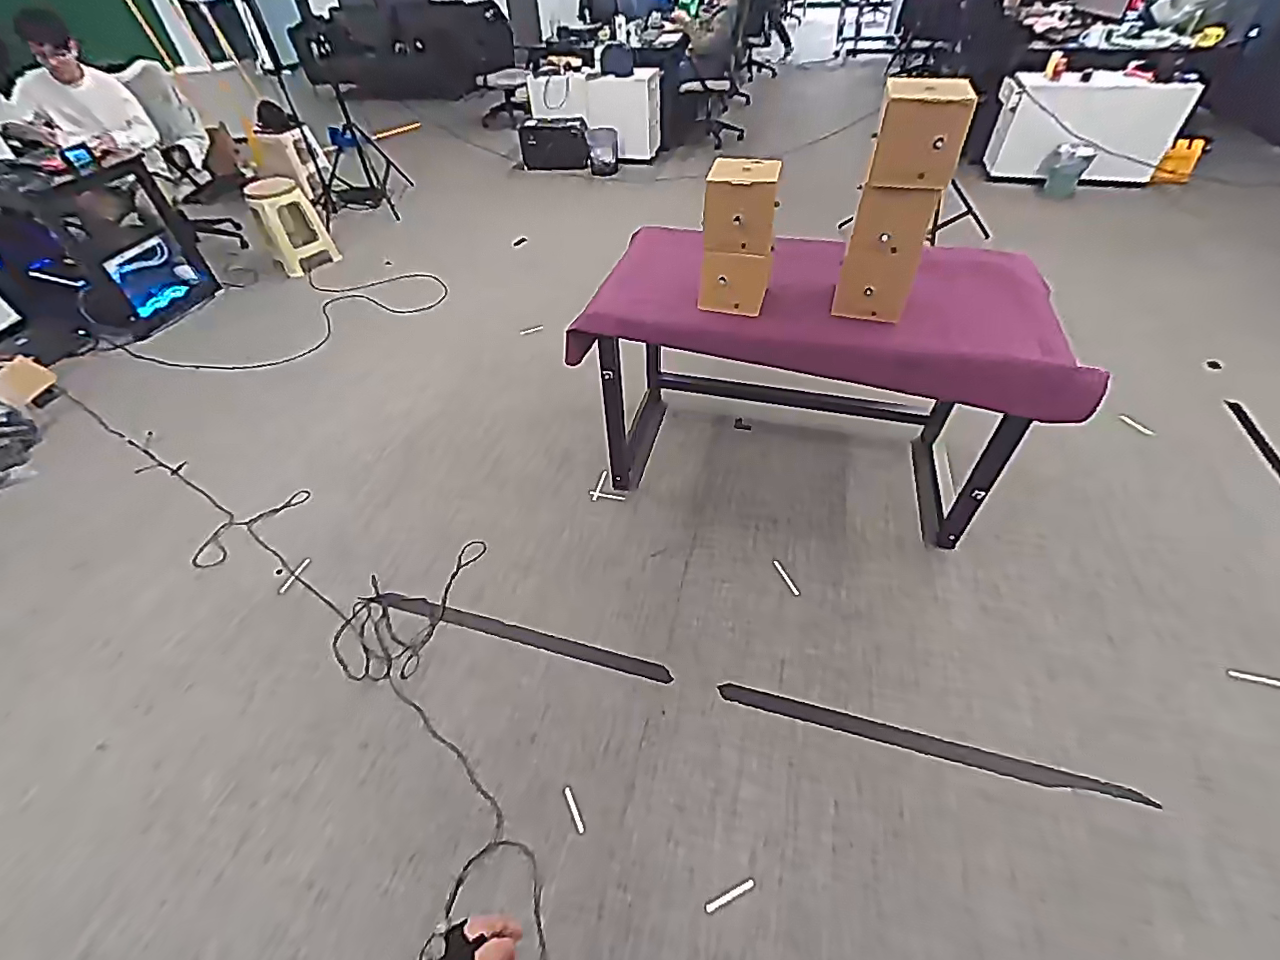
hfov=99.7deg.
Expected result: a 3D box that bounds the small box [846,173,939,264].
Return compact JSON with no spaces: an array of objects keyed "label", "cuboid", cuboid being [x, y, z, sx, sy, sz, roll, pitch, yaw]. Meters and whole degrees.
[{"label":"small box","cuboid":[0.606,-0.649,1.312,0.168,0.176,0.179,12,48,14]}]

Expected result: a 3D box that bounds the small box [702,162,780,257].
[{"label":"small box","cuboid":[0.251,-0.679,1.360,0.168,0.176,0.179,9,47,11]}]

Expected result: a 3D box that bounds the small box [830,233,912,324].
[{"label":"small box","cuboid":[0.608,-0.533,1.429,0.168,0.176,0.179,13,48,14]}]

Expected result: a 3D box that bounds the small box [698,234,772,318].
[{"label":"small box","cuboid":[0.256,-0.560,1.473,0.168,0.176,0.179,11,47,13]}]

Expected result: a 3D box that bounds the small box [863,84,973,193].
[{"label":"small box","cuboid":[0.596,-0.745,1.180,0.168,0.176,0.179,10,47,11]}]
